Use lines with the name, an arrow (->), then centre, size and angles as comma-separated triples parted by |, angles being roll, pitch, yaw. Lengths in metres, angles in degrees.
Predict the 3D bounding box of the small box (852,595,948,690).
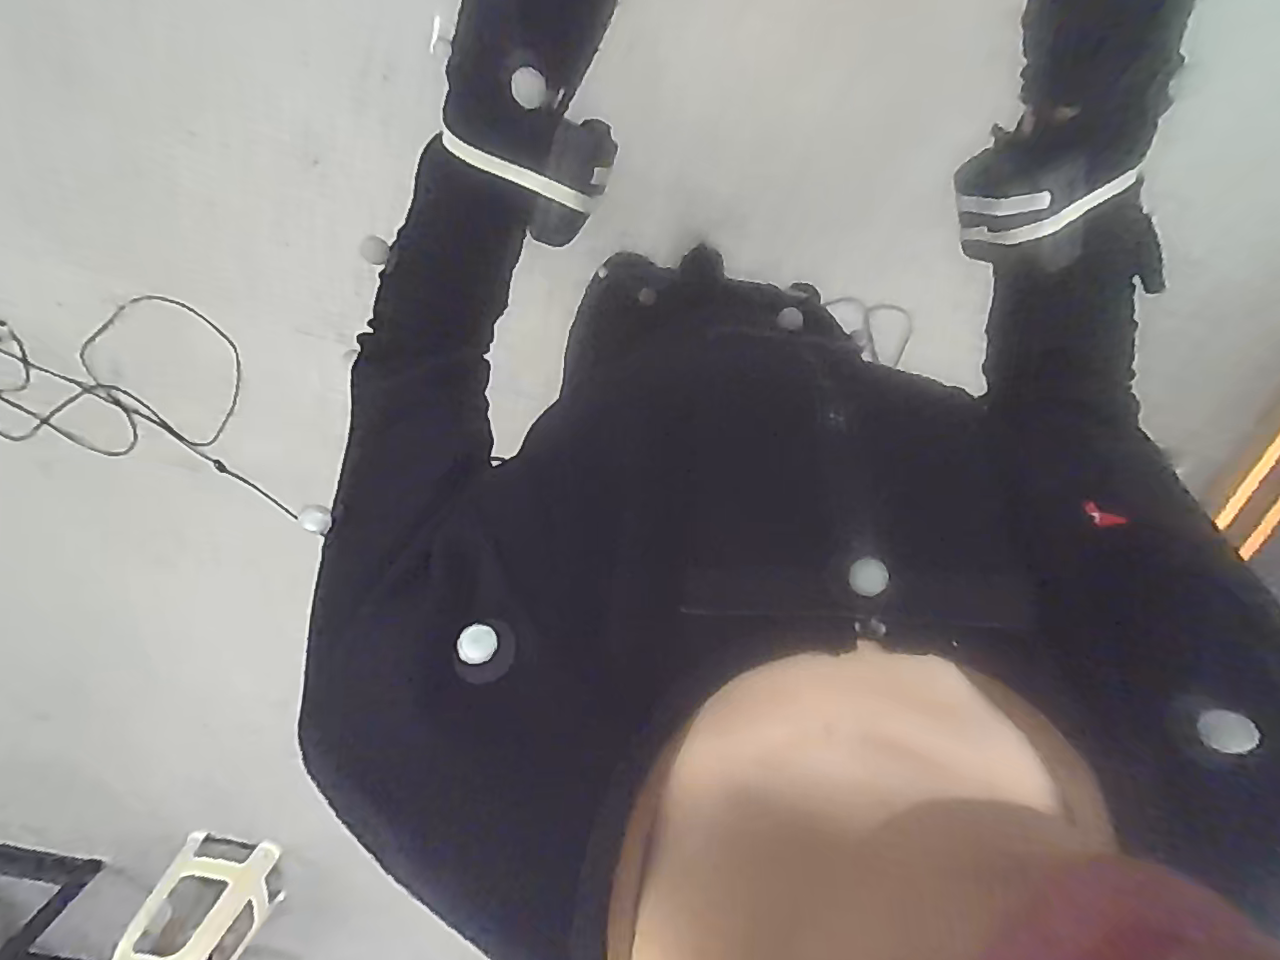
small box -> 0.749, 0.474, 1.587 | 0.168, 0.176, 0.179 | 21, 110, -6
